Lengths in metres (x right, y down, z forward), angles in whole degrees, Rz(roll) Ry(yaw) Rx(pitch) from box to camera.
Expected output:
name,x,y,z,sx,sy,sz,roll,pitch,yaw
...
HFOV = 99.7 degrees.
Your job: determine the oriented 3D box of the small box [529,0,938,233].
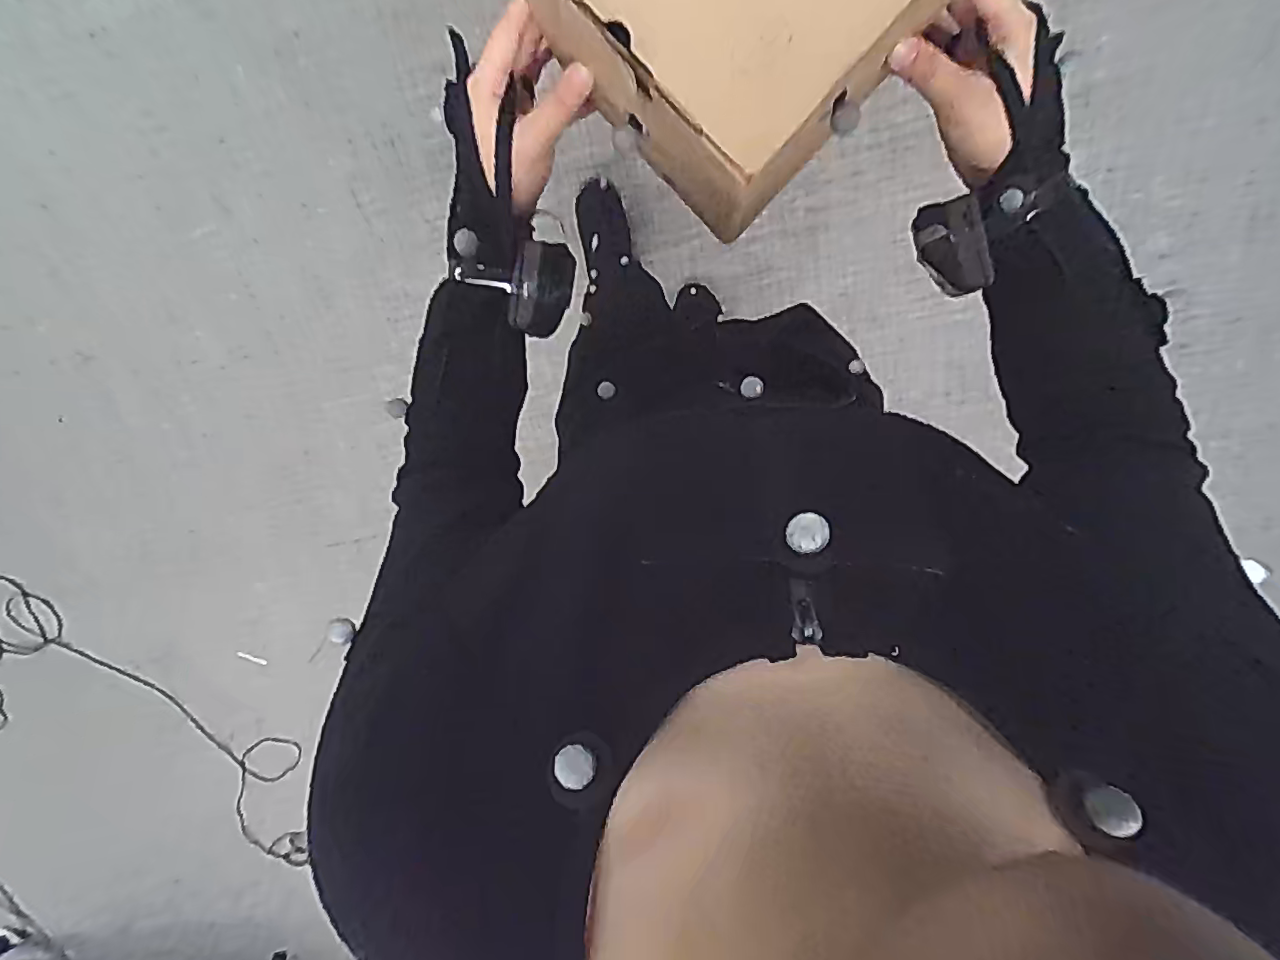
name,x,y,z,sx,sy,sz,roll,pitch,yaw
small box,0.054,-0.266,0.292,0.168,0.176,0.179,44,106,-5
